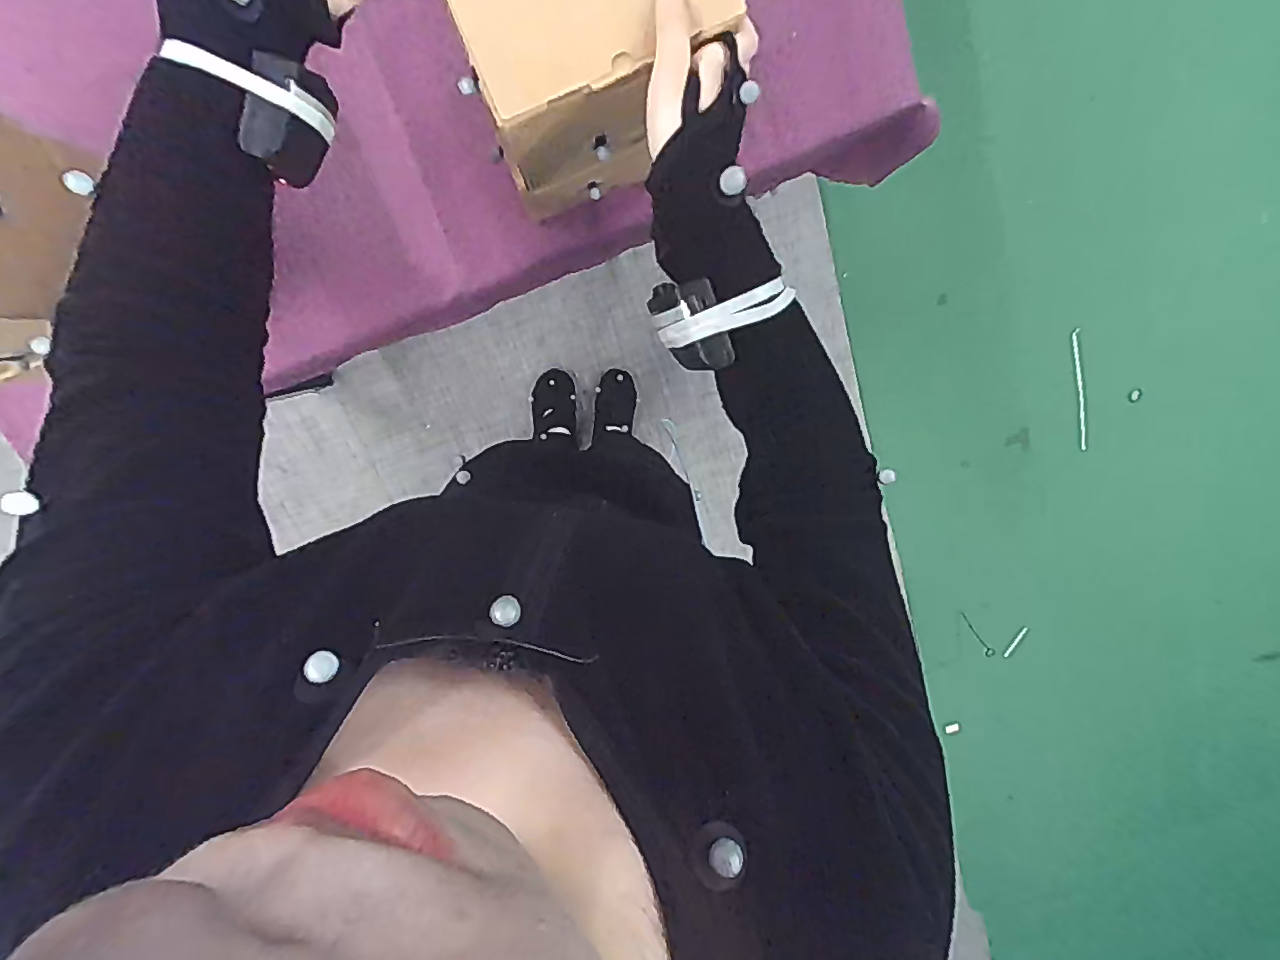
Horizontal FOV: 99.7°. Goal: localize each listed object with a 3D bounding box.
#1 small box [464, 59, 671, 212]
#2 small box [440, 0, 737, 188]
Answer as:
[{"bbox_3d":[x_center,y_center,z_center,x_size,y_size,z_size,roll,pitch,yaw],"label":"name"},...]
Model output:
[{"bbox_3d":[-0.080,-0.401,0.567,0.168,0.176,0.179,-21,107,-1],"label":"small box"},{"bbox_3d":[-0.054,-0.347,0.389,0.168,0.176,0.179,-23,107,0],"label":"small box"}]
